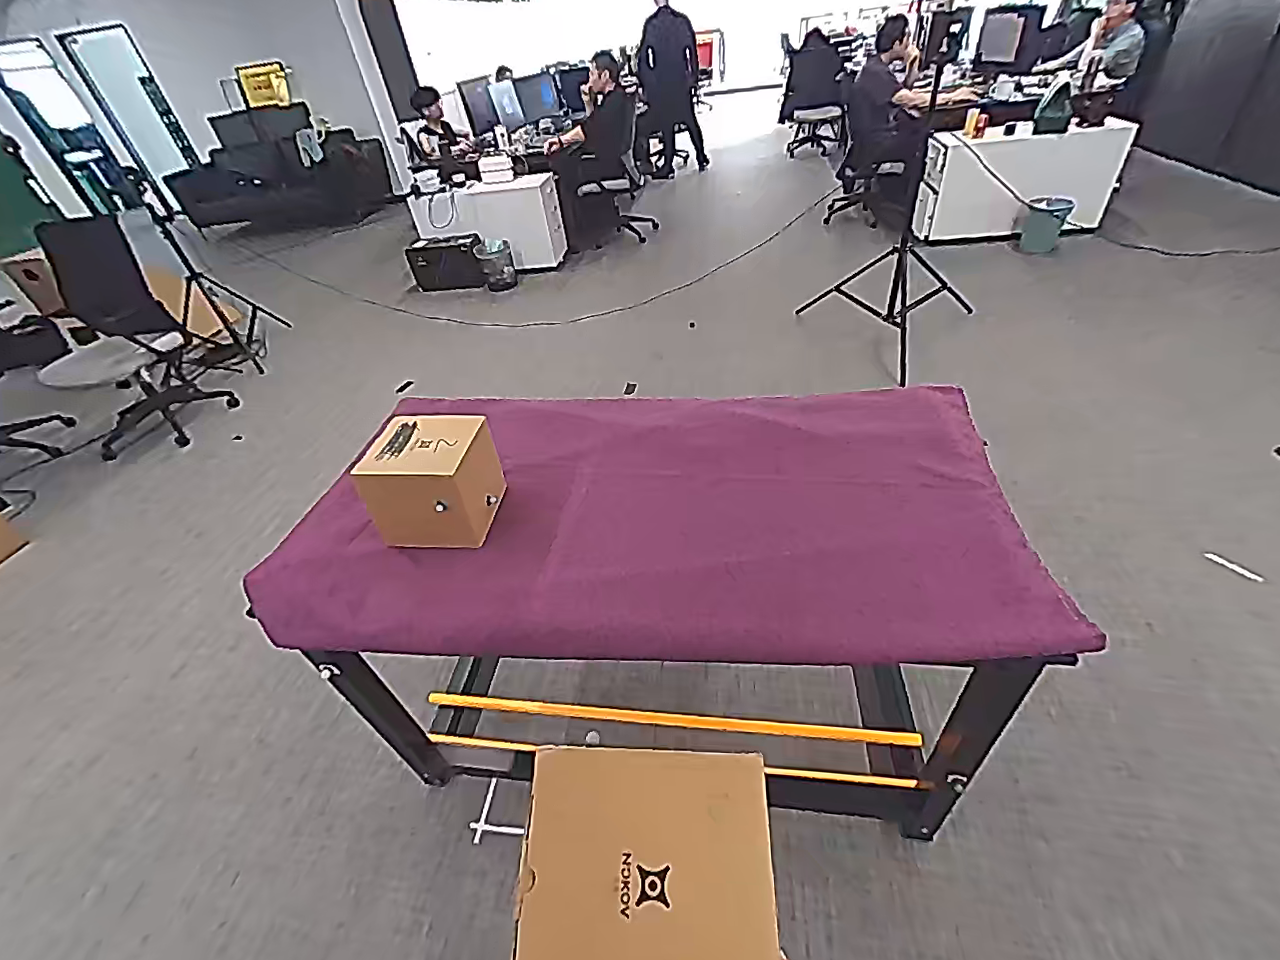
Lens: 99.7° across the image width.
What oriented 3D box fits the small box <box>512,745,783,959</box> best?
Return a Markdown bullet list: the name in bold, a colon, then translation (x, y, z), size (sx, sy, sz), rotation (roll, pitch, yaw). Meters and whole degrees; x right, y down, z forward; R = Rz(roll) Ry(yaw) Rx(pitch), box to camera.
- **small box**: translation (0.009, 0.314, 0.434), size (0.179, 0.176, 0.168), rotation (-1, 57, 4)
